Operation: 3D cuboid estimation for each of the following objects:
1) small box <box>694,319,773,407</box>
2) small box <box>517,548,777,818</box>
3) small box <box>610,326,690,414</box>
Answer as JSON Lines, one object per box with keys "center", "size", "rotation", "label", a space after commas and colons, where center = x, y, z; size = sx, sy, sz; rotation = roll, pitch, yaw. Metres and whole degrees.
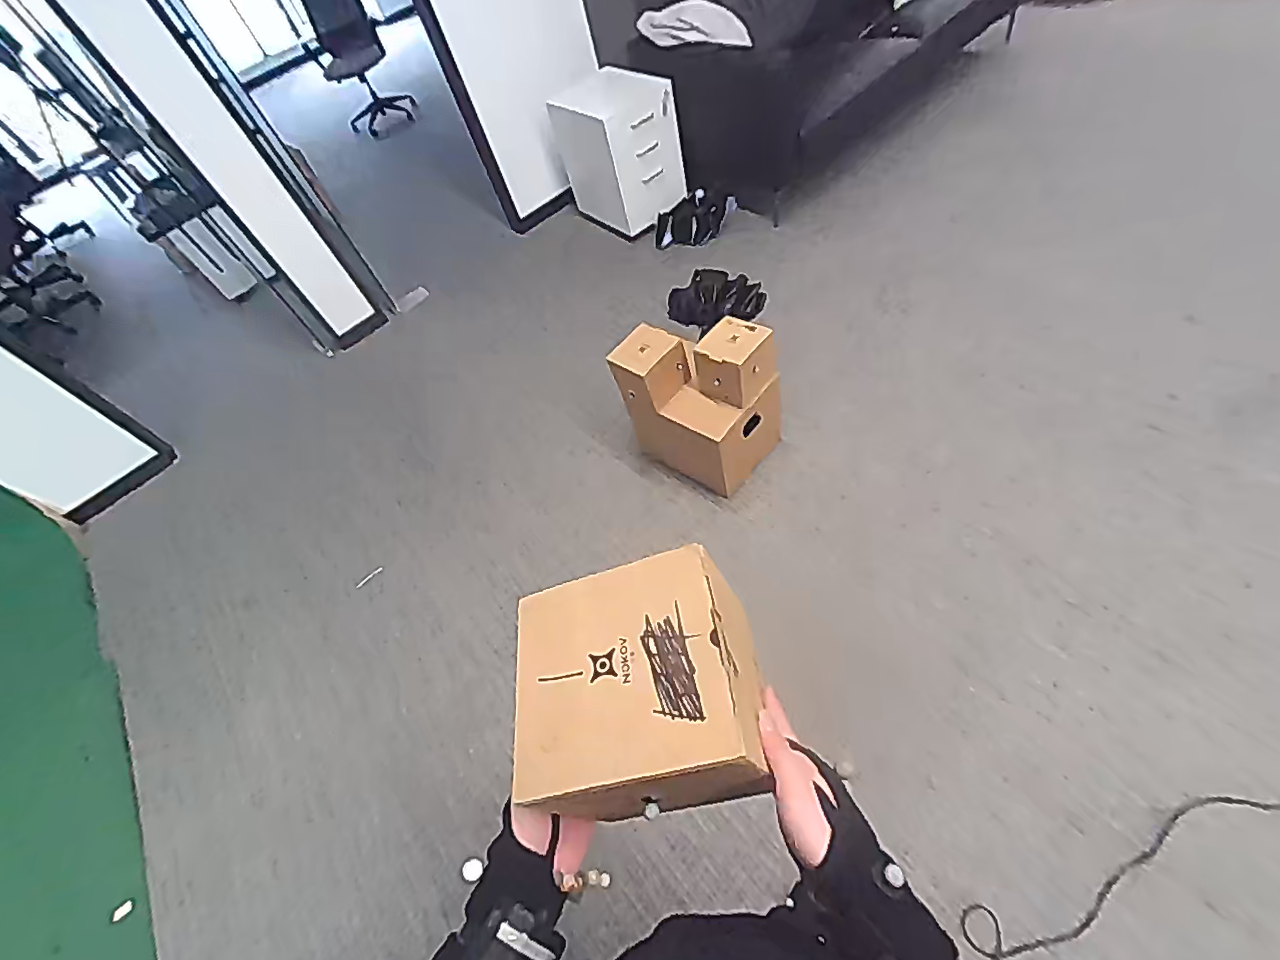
{"center": [0.287, -0.346, 1.616], "size": [0.168, 0.176, 0.179], "rotation": [28, 66, 31], "label": "small box"}
{"center": [0.013, 0.188, 0.479], "size": [0.179, 0.176, 0.168], "rotation": [-19, 50, 14], "label": "small box"}
{"center": [0.038, -0.342, 1.689], "size": [0.168, 0.176, 0.179], "rotation": [31, 72, 34], "label": "small box"}
